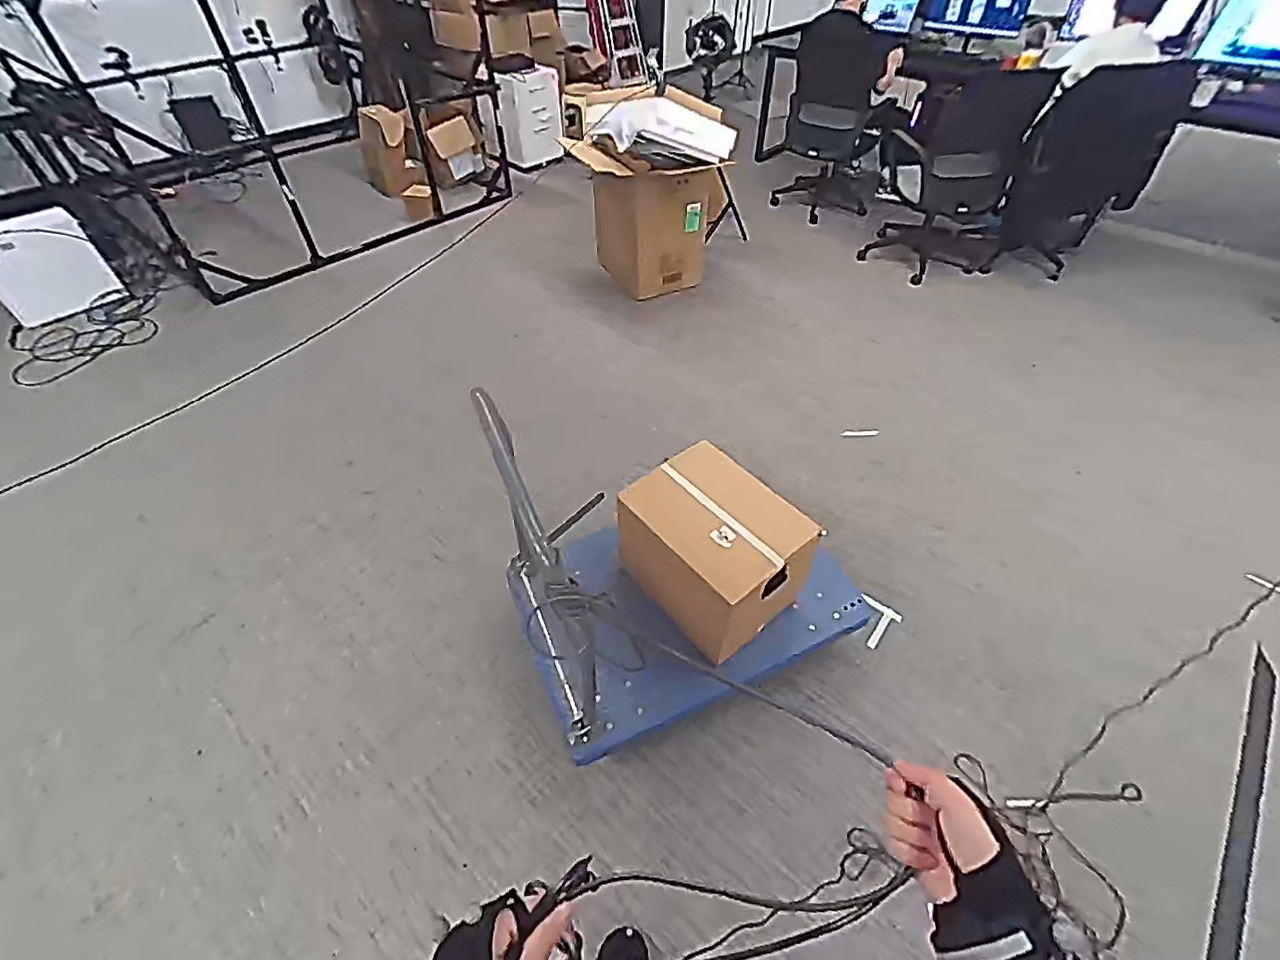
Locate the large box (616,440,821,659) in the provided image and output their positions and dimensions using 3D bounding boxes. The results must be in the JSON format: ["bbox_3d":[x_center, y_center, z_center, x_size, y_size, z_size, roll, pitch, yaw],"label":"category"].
[{"bbox_3d":[0.178,0.172,1.402,0.320,0.320,0.408,-33,57,-25],"label":"large box"}]
